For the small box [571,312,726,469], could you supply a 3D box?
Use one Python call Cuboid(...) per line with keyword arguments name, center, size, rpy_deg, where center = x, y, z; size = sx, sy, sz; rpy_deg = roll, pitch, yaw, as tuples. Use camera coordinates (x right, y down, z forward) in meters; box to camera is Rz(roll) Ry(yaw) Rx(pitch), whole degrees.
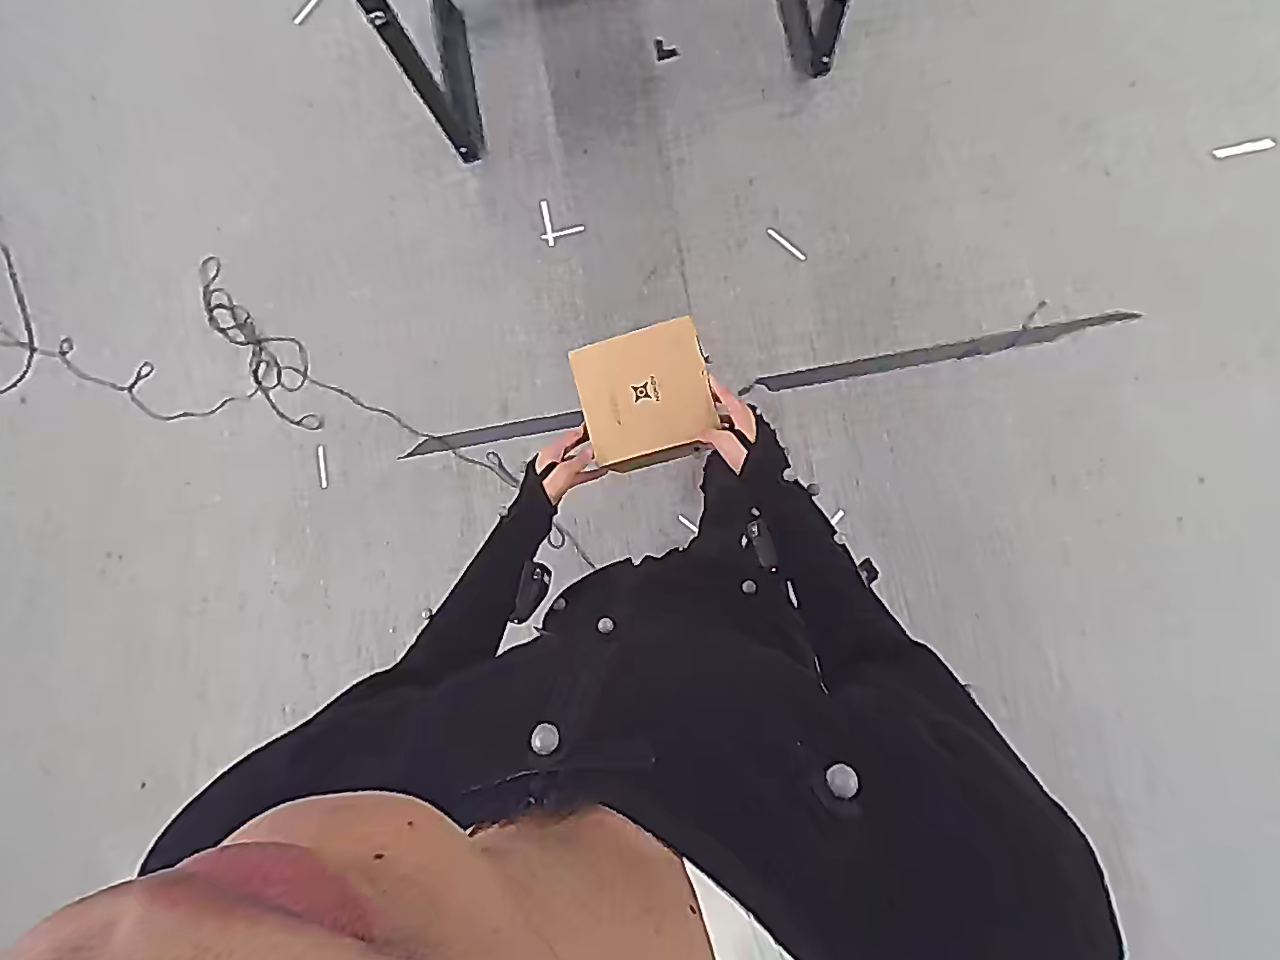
Cuboid(name="small box", center=(0.019, -0.118, 0.791), size=(0.179, 0.176, 0.168), rpy_deg=(-16, 85, 8))
